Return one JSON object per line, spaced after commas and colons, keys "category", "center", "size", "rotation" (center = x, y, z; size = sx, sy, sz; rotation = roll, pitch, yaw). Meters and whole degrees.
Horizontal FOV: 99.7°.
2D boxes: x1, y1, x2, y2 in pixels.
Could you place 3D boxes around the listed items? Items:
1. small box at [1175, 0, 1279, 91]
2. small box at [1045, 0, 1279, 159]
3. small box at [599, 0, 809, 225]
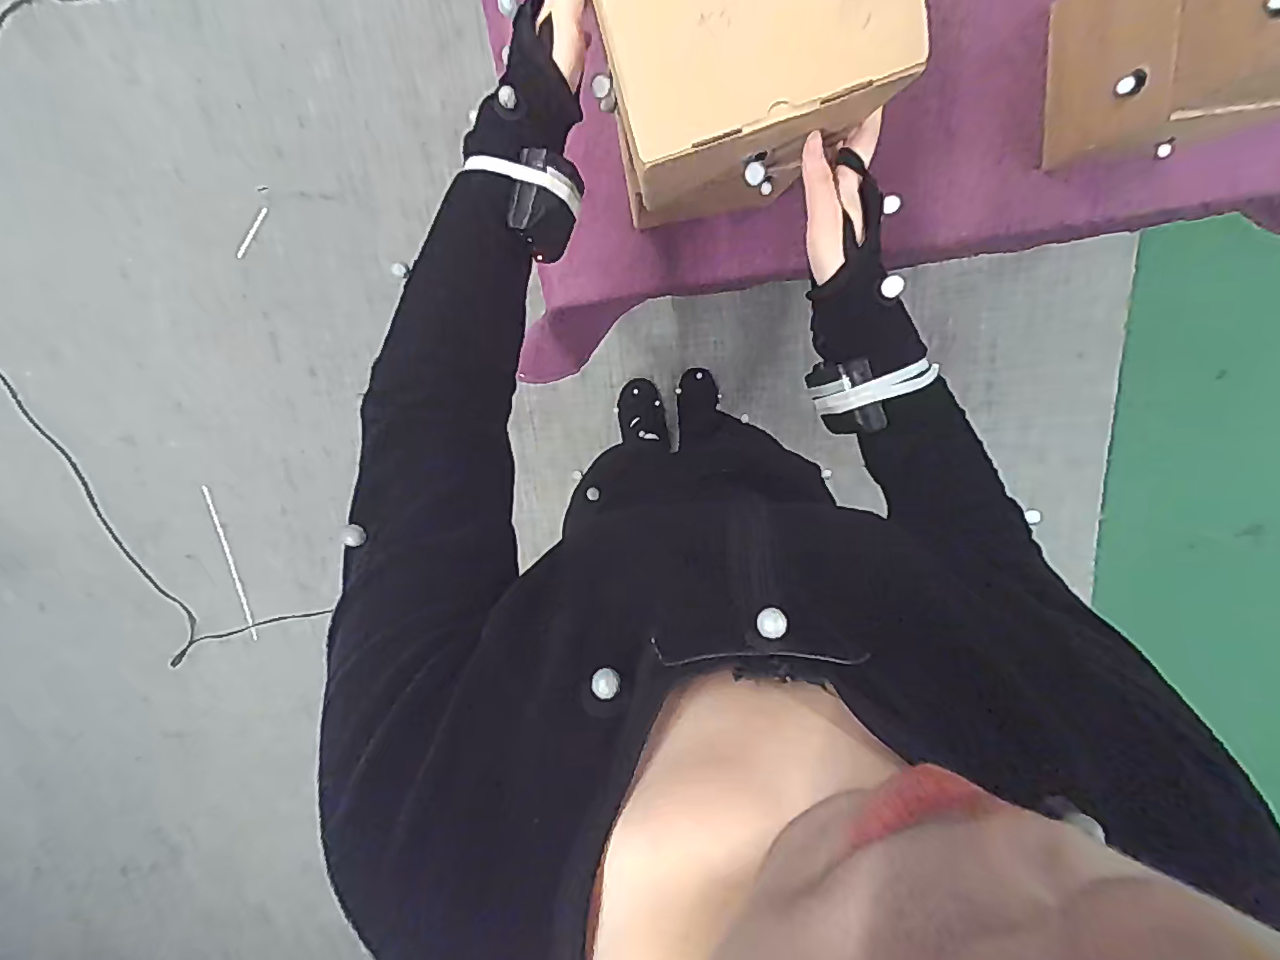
{"category": "small box", "center": [0.561, -0.420, 0.400], "size": [0.168, 0.176, 0.179], "rotation": [-5, 103, 1]}
{"category": "small box", "center": [0.561, -0.455, 0.560], "size": [0.168, 0.176, 0.179], "rotation": [-7, 103, 1]}
{"category": "small box", "center": [0.062, -0.389, 0.576], "size": [0.179, 0.176, 0.168], "rotation": [-11, 103, 2]}
